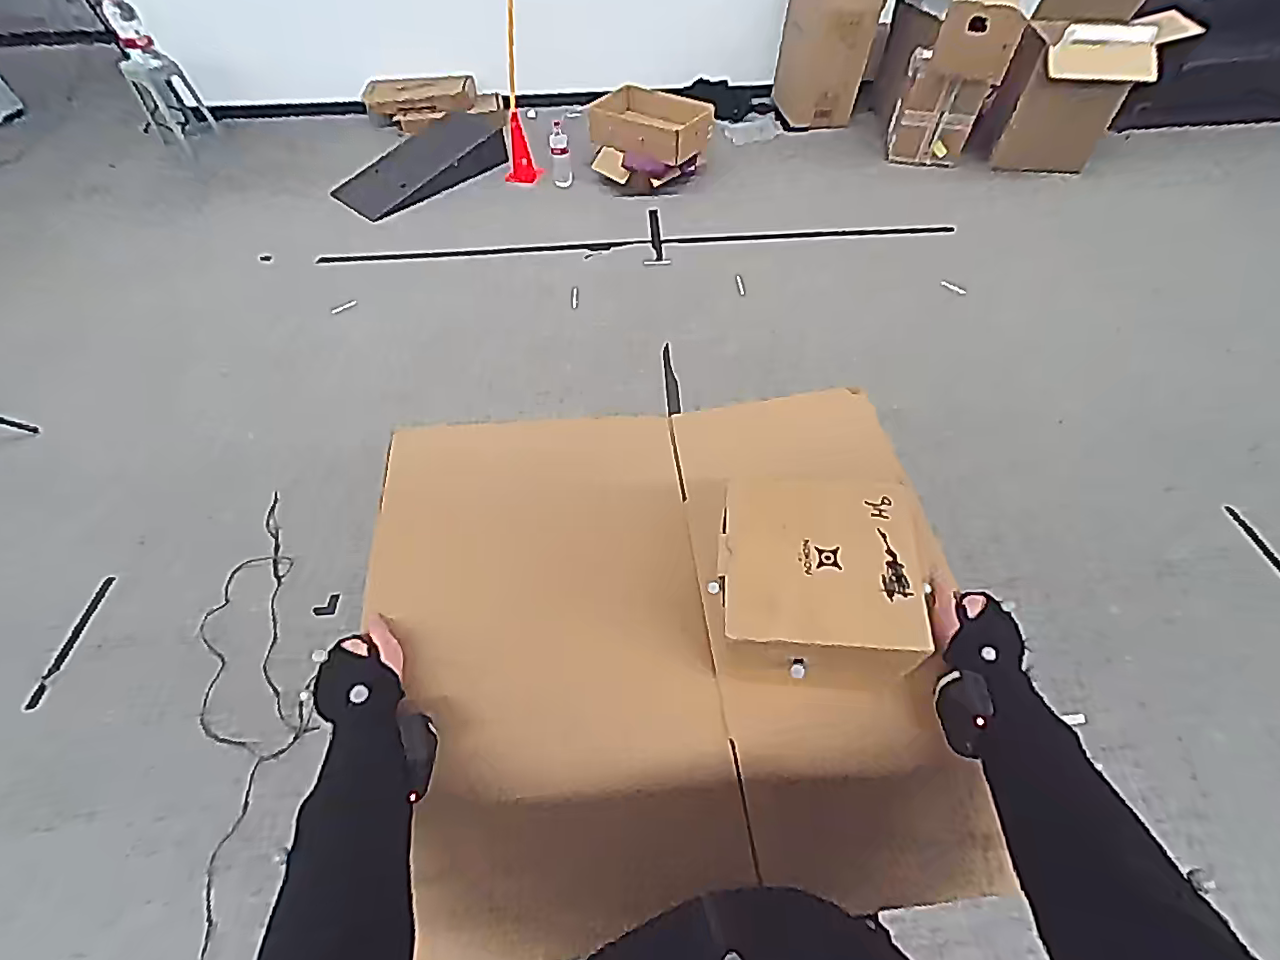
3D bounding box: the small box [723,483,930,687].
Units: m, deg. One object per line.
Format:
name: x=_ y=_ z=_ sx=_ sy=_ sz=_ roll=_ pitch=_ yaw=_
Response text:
small box: x=0.181 y=0.116 z=0.579 sx=0.179 sy=0.176 sz=0.168 roll=0 pitch=58 yaw=10
